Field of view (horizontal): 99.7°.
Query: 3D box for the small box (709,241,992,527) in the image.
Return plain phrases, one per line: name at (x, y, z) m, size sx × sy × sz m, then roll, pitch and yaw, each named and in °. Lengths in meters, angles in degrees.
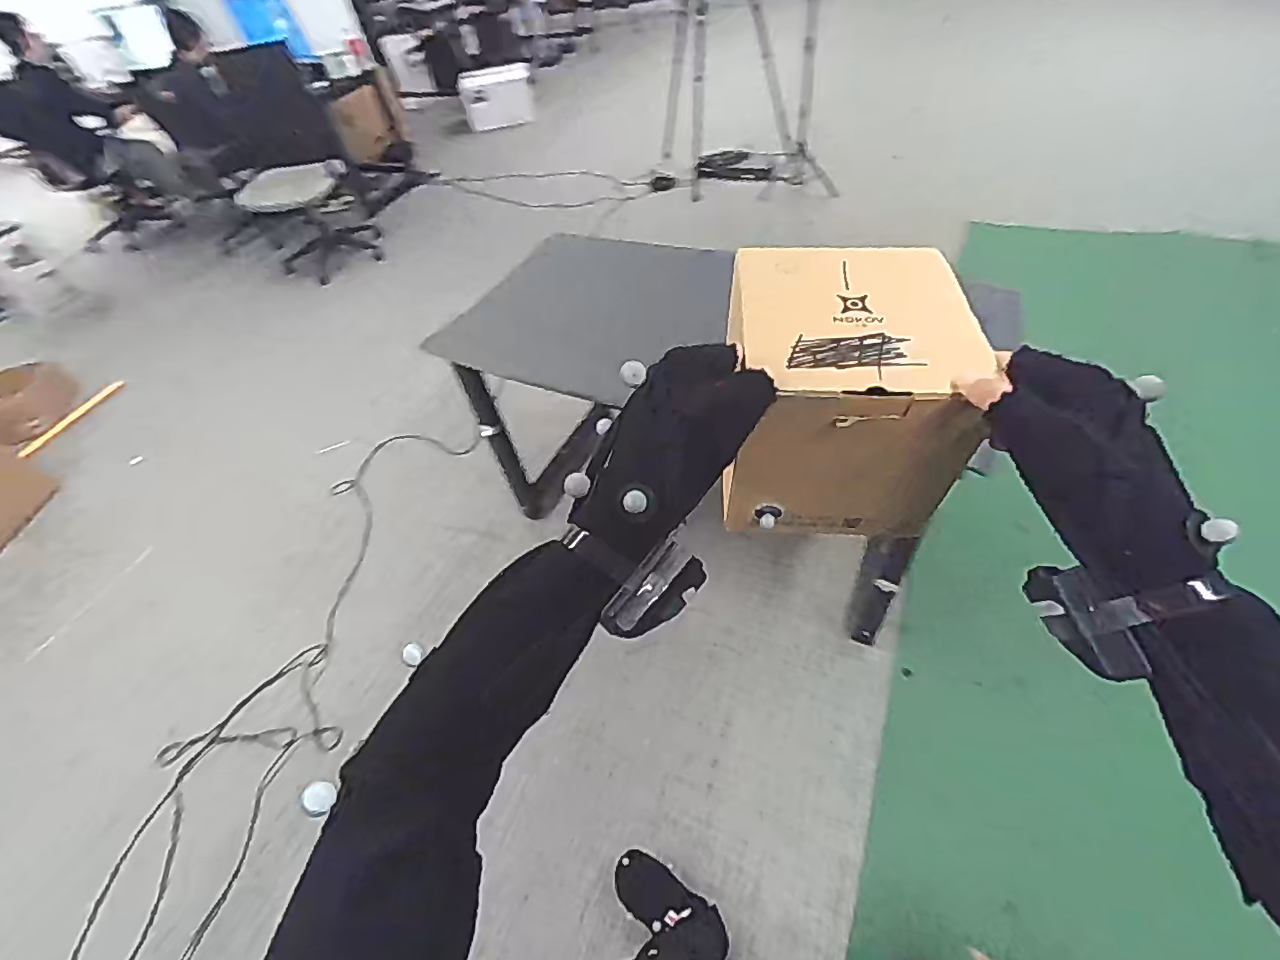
small box at (0.146, -0.074, 0.451) m, size 0.168 × 0.176 × 0.179 m, roll 1°, pitch 52°, yaw 4°
